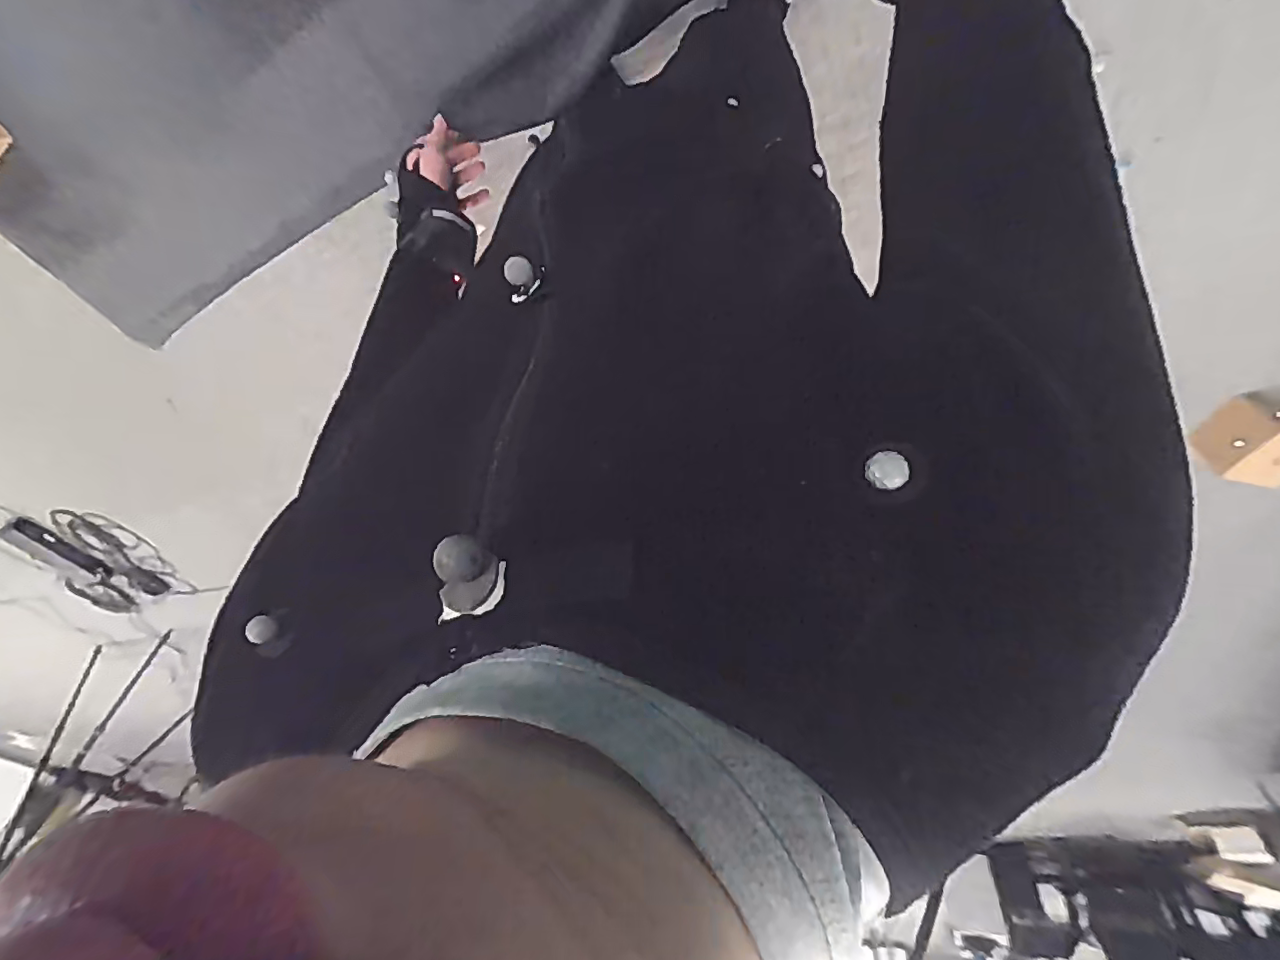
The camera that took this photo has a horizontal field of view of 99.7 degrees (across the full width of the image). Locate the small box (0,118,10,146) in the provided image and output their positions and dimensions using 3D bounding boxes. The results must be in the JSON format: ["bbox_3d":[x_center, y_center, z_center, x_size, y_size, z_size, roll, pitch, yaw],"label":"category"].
[{"bbox_3d":[-0.900,-0.416,0.608,0.168,0.176,0.179,-19,130,26],"label":"small box"}]
